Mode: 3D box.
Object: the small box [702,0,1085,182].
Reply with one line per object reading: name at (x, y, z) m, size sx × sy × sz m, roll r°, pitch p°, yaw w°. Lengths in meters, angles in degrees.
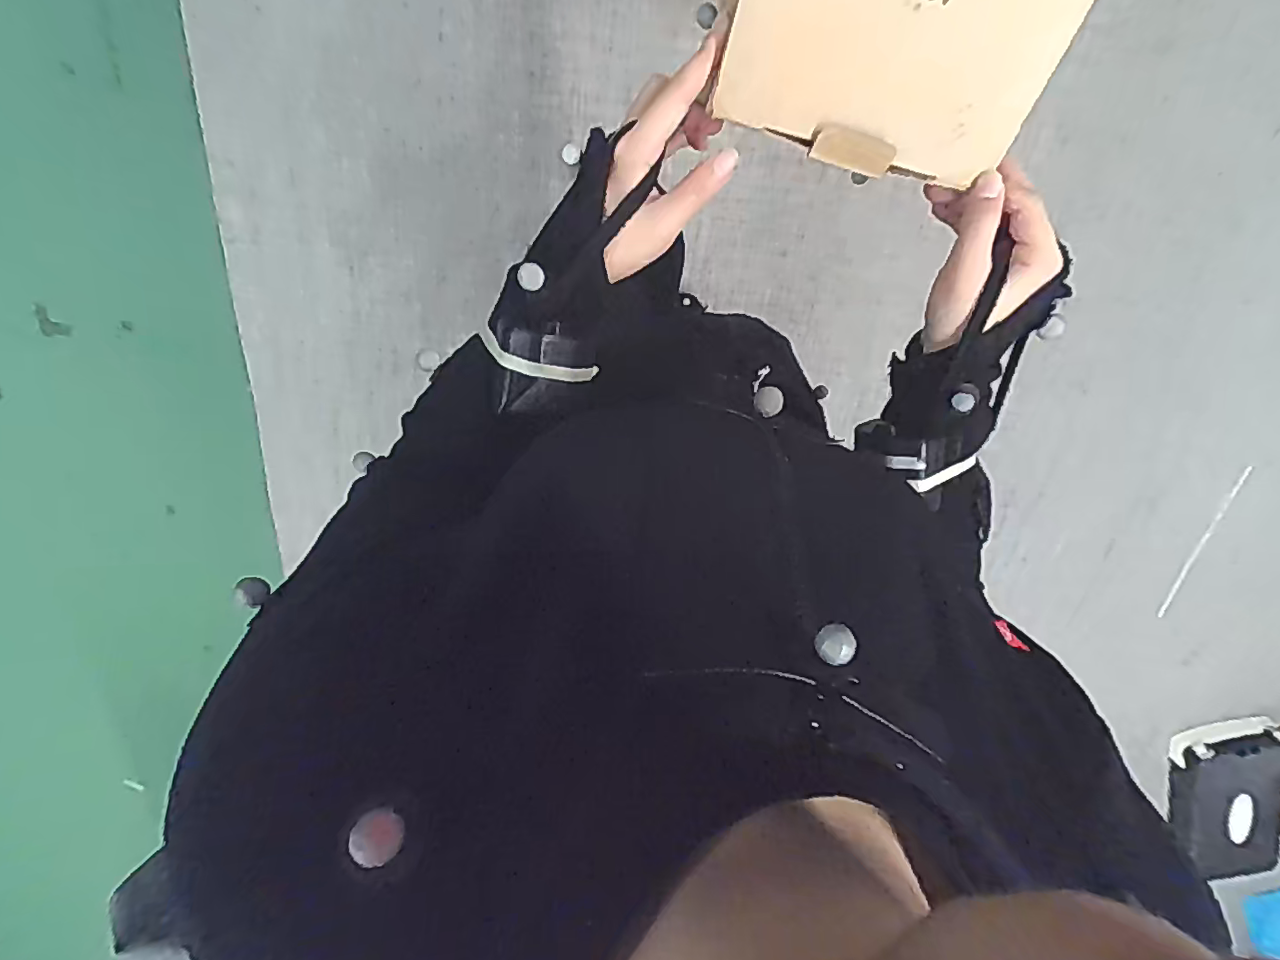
small box at (0.137, -0.300, 0.309) m, size 0.168 × 0.176 × 0.179 m, roll 11°, pitch 127°, yaw -7°
